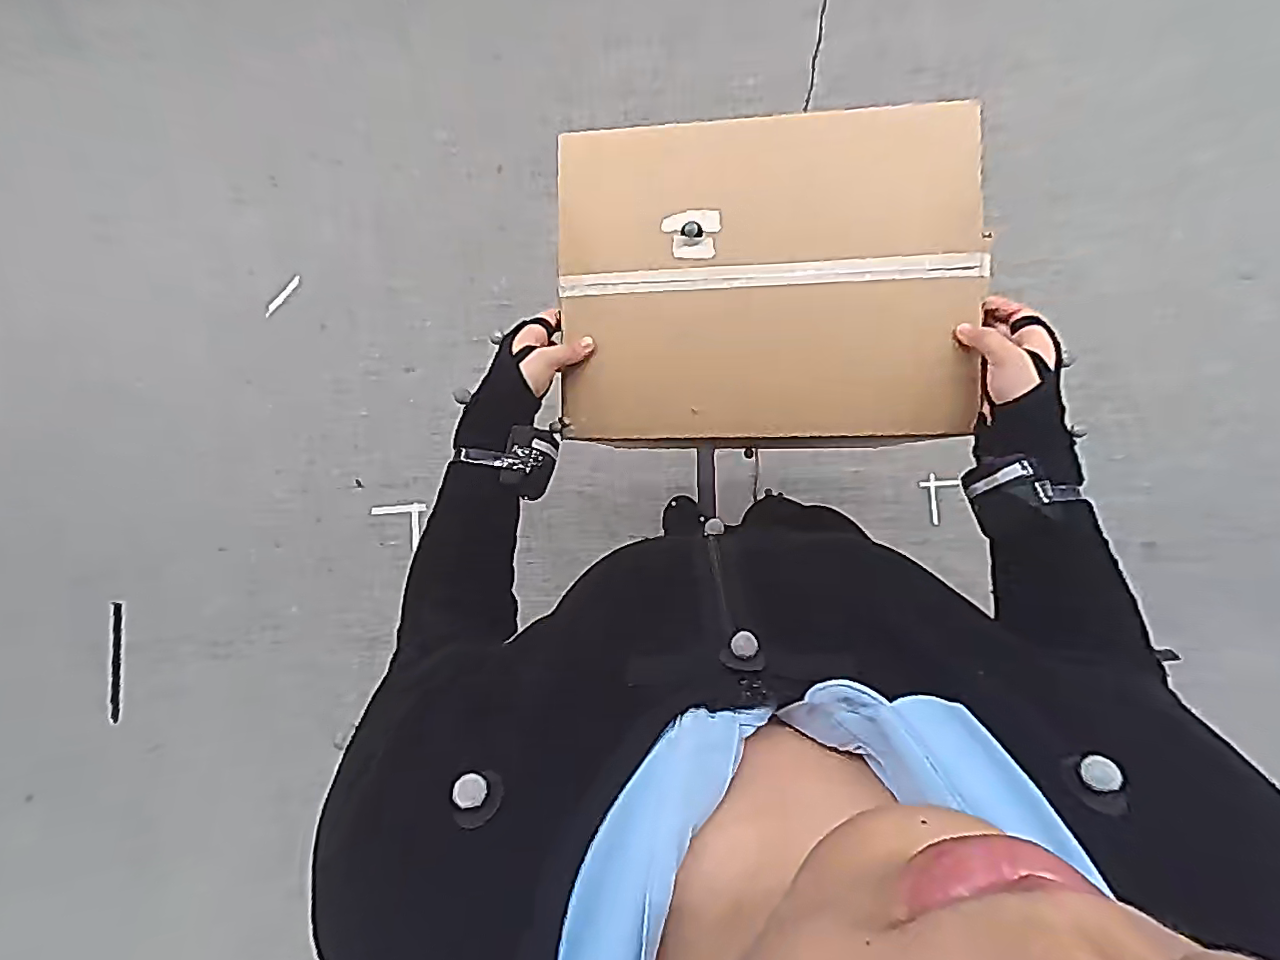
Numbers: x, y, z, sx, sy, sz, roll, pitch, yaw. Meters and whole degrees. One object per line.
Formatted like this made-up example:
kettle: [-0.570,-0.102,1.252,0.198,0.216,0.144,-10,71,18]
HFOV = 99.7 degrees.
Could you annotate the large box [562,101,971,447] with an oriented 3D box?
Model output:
large box: [0.140,-0.206,0.688,0.408,0.320,0.320,-1,90,9]
